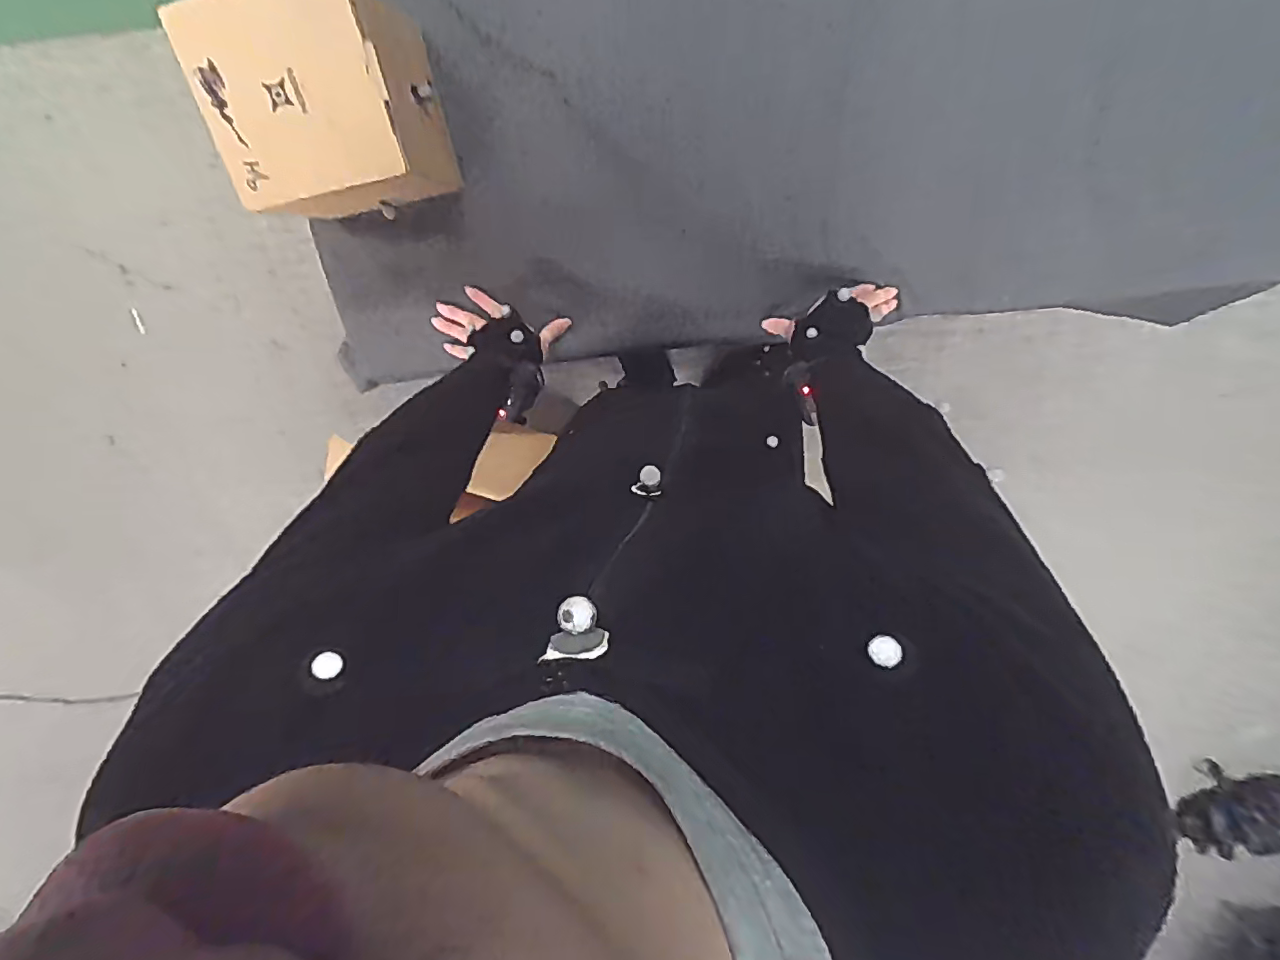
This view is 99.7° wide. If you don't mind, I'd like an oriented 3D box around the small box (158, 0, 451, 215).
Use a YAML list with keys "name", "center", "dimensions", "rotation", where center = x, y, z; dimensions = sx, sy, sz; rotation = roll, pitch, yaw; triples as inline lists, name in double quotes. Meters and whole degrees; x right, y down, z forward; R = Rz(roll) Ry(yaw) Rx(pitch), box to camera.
- name: "small box"
  center: [-0.315, -0.383, 0.561]
  dimensions: [0.179, 0.176, 0.168]
  rotation: [-10, 113, 5]
